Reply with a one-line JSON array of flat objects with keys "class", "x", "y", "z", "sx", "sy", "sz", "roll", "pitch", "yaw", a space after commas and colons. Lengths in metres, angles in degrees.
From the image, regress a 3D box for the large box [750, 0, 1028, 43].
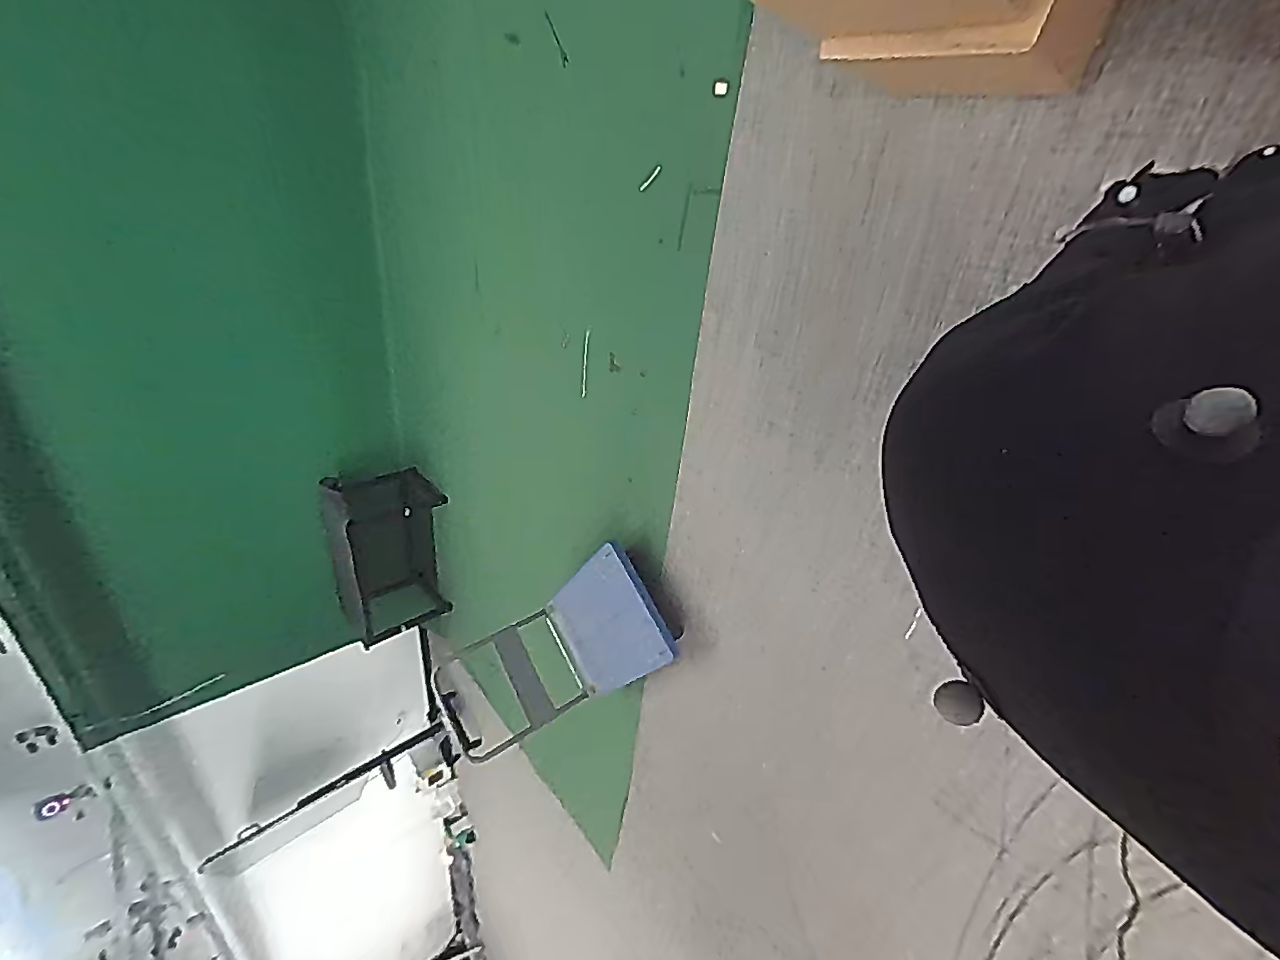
[{"class": "large box", "x": 0.397, "y": -0.926, "z": 0.828, "sx": 0.408, "sy": 0.320, "sz": 0.320, "roll": 32, "pitch": 123, "yaw": 38}]
